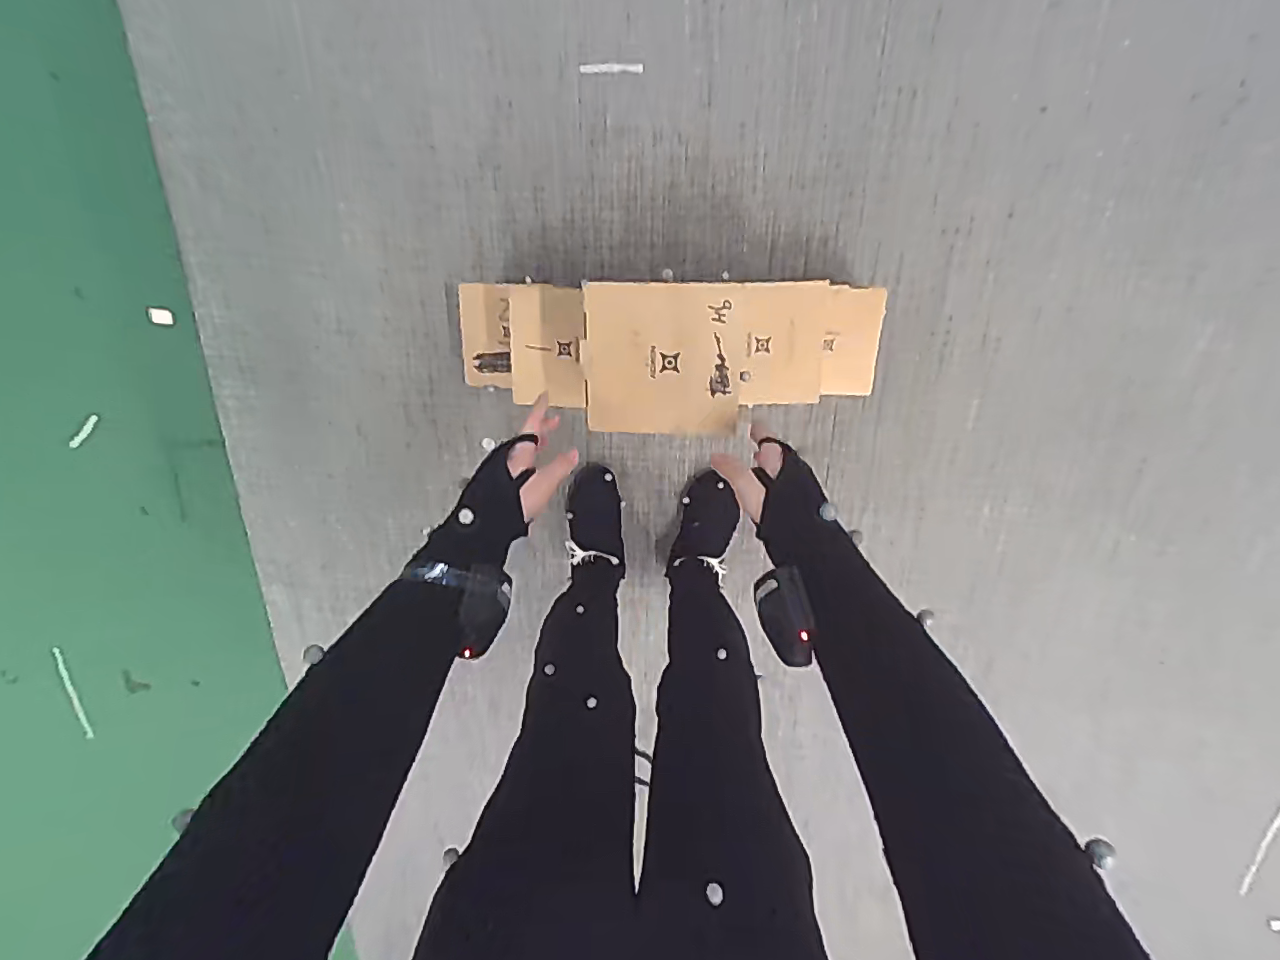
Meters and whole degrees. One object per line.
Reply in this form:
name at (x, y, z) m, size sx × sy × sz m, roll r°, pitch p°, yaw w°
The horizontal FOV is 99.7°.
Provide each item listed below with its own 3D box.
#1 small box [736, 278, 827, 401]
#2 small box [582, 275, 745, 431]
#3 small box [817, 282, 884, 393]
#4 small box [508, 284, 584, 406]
small box at (0.166, -0.216, 0.819) m, size 0.179 × 0.176 × 0.168 m, roll 0°, pitch 110°, yaw 3°
small box at (0.030, -0.164, 0.673) m, size 0.179 × 0.176 × 0.168 m, roll 2°, pitch 110°, yaw 4°
small box at (0.312, -0.260, 0.967) m, size 0.168 × 0.176 × 0.179 m, roll 2°, pitch 109°, yaw 4°
small box at (-0.093, -0.213, 0.839) m, size 0.179 × 0.176 × 0.168 m, roll 3°, pitch 110°, yaw 4°
